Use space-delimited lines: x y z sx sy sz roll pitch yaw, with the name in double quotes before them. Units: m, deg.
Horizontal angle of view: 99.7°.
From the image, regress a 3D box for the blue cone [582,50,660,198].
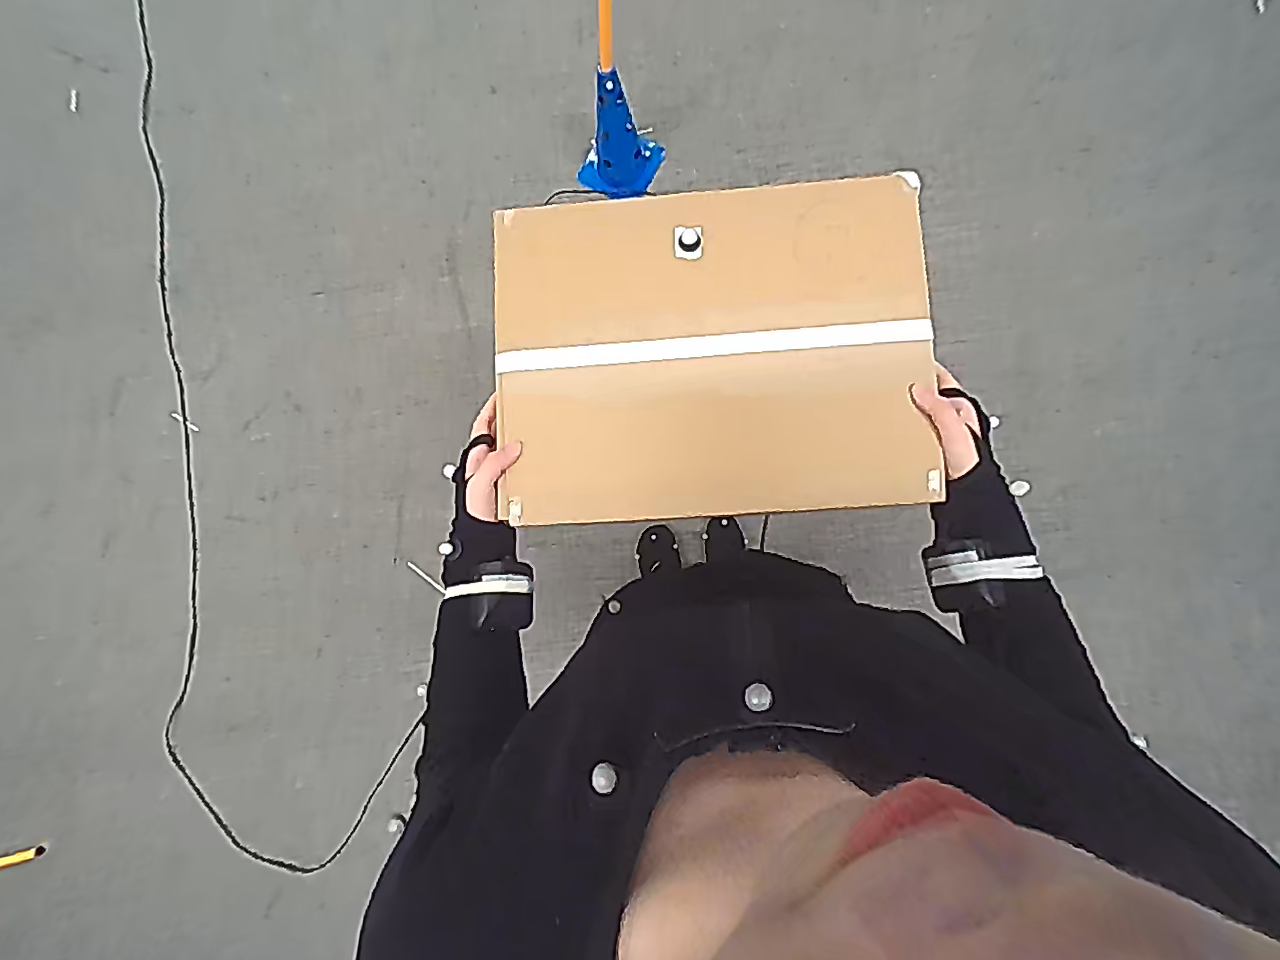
"blue cone" -0.063 -0.920 1.369 0.192 0.380 0.193 26 89 3
